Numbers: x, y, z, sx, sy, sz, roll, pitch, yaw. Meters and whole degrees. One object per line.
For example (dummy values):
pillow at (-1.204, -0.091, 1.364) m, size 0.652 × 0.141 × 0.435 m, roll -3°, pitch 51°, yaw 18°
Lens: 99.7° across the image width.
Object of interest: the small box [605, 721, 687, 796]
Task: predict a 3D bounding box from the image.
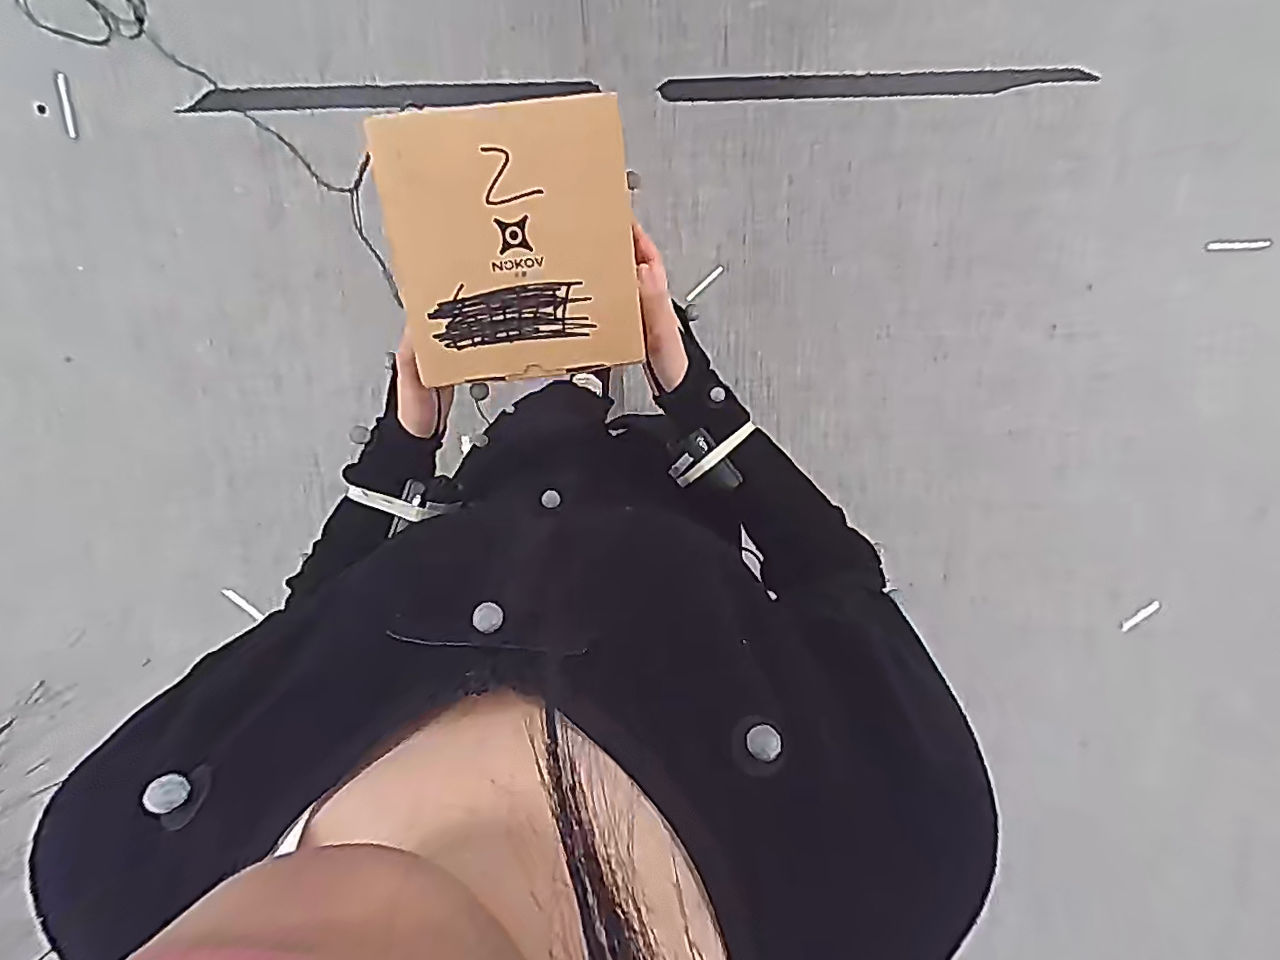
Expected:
small box at (0.015, 0.672, 1.236) m, size 0.179 × 0.176 × 0.168 m, roll -3°, pitch 99°, yaw 1°

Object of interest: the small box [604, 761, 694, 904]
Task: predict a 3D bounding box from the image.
small box at (0.019, 0.693, 1.075) m, size 0.168 × 0.176 × 0.179 m, roll -2°, pitch 99°, yaw 0°
